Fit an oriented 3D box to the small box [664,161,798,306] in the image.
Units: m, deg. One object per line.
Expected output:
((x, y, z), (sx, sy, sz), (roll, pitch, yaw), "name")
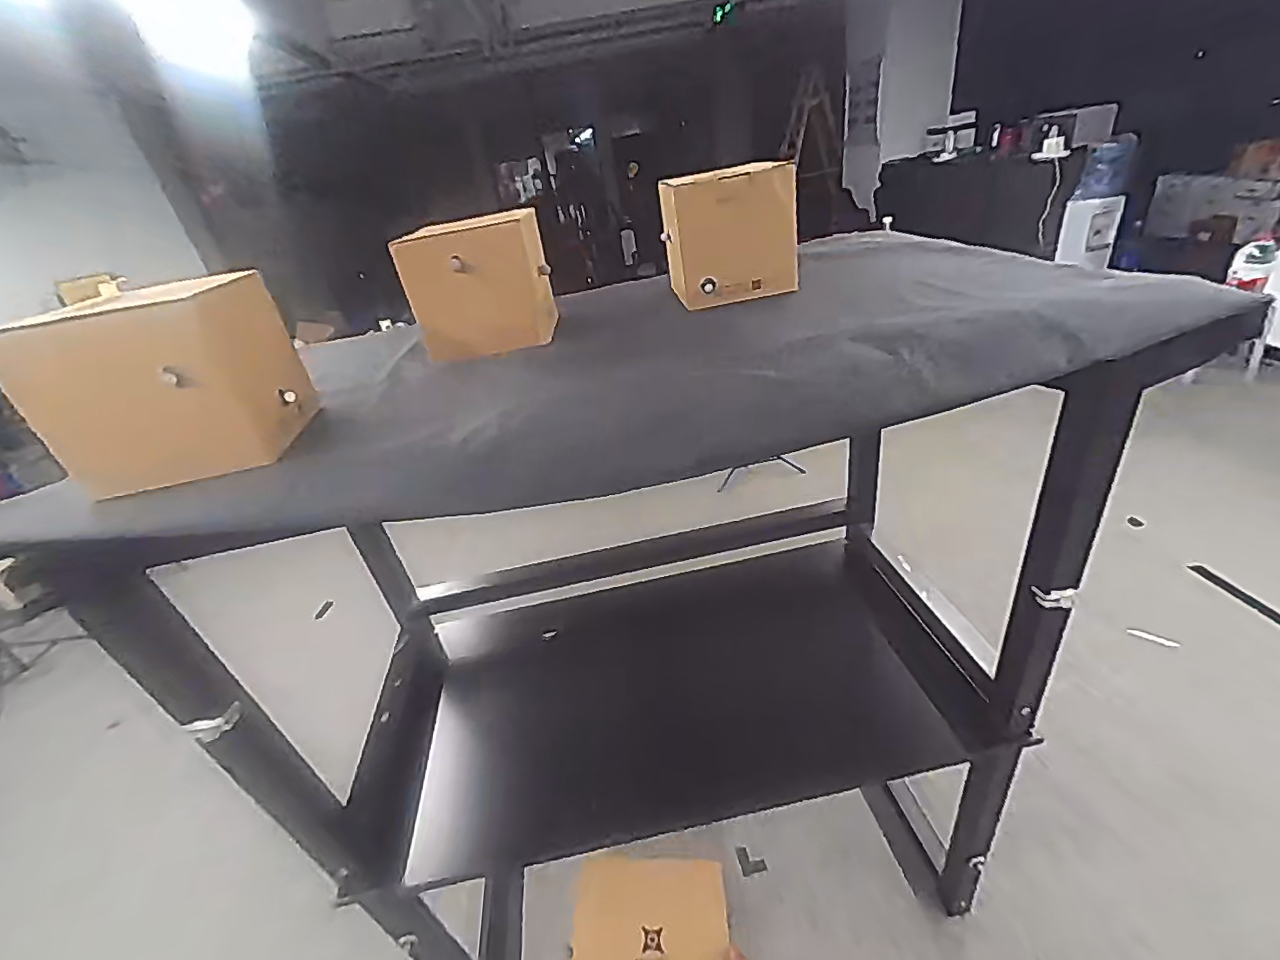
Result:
((0.136, -0.372, 0.822), (0.168, 0.176, 0.179), (-10, 30, 1), "small box")

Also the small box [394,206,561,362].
((-0.220, -0.289, 0.796), (0.179, 0.176, 0.168), (-9, 31, 3), "small box")

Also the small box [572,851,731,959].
((0.010, 0.552, 0.602), (0.168, 0.176, 0.179), (1, 31, 1), "small box")
